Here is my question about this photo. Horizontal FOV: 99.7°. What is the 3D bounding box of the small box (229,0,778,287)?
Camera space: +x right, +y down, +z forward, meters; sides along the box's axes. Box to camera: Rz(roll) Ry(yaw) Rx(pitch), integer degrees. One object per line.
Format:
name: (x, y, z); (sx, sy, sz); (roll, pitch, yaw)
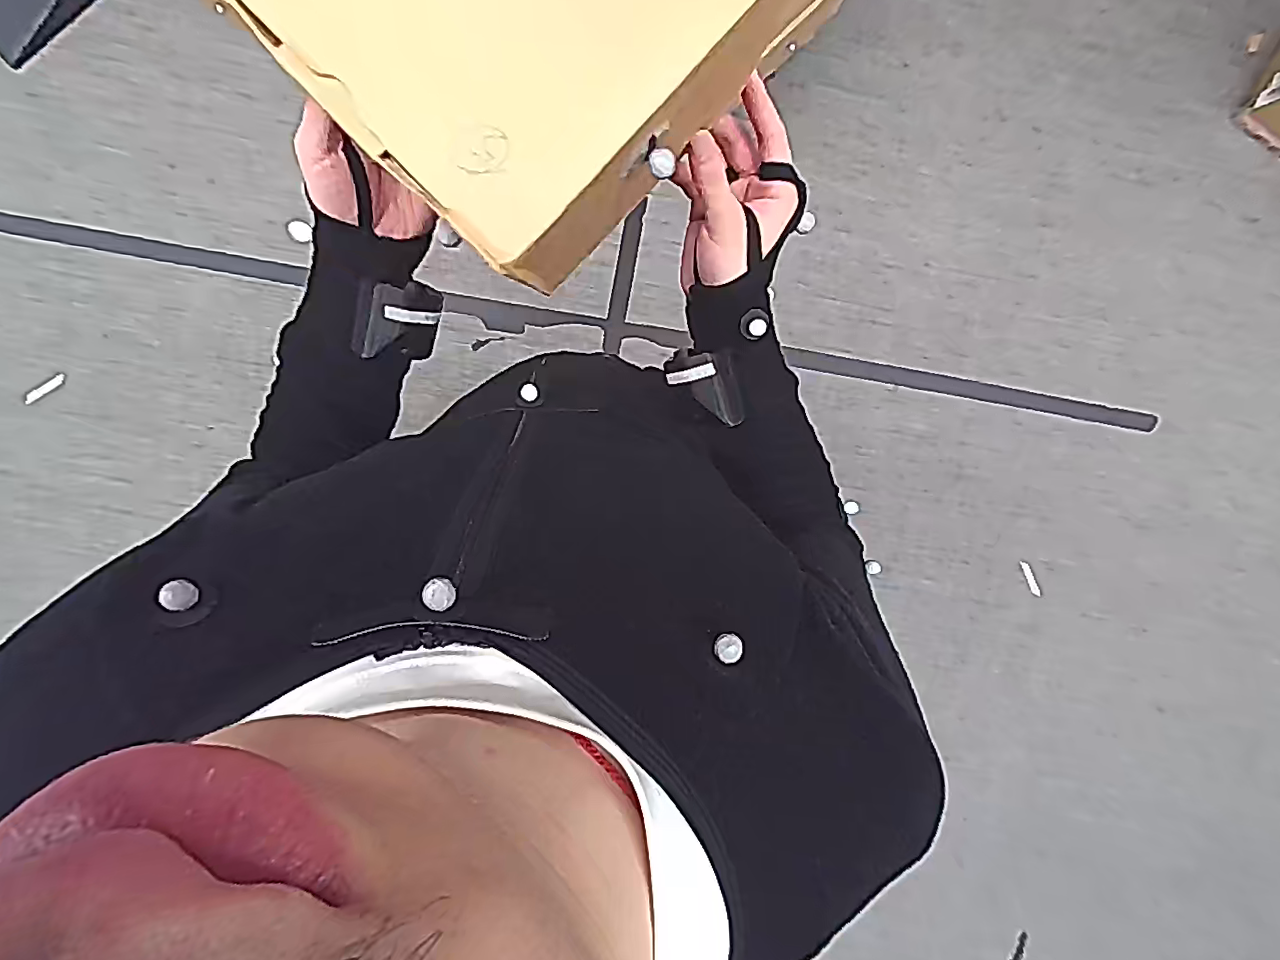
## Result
small box: (-0.052, -0.218, 0.270); (0.168, 0.176, 0.179); (43, 98, -14)
